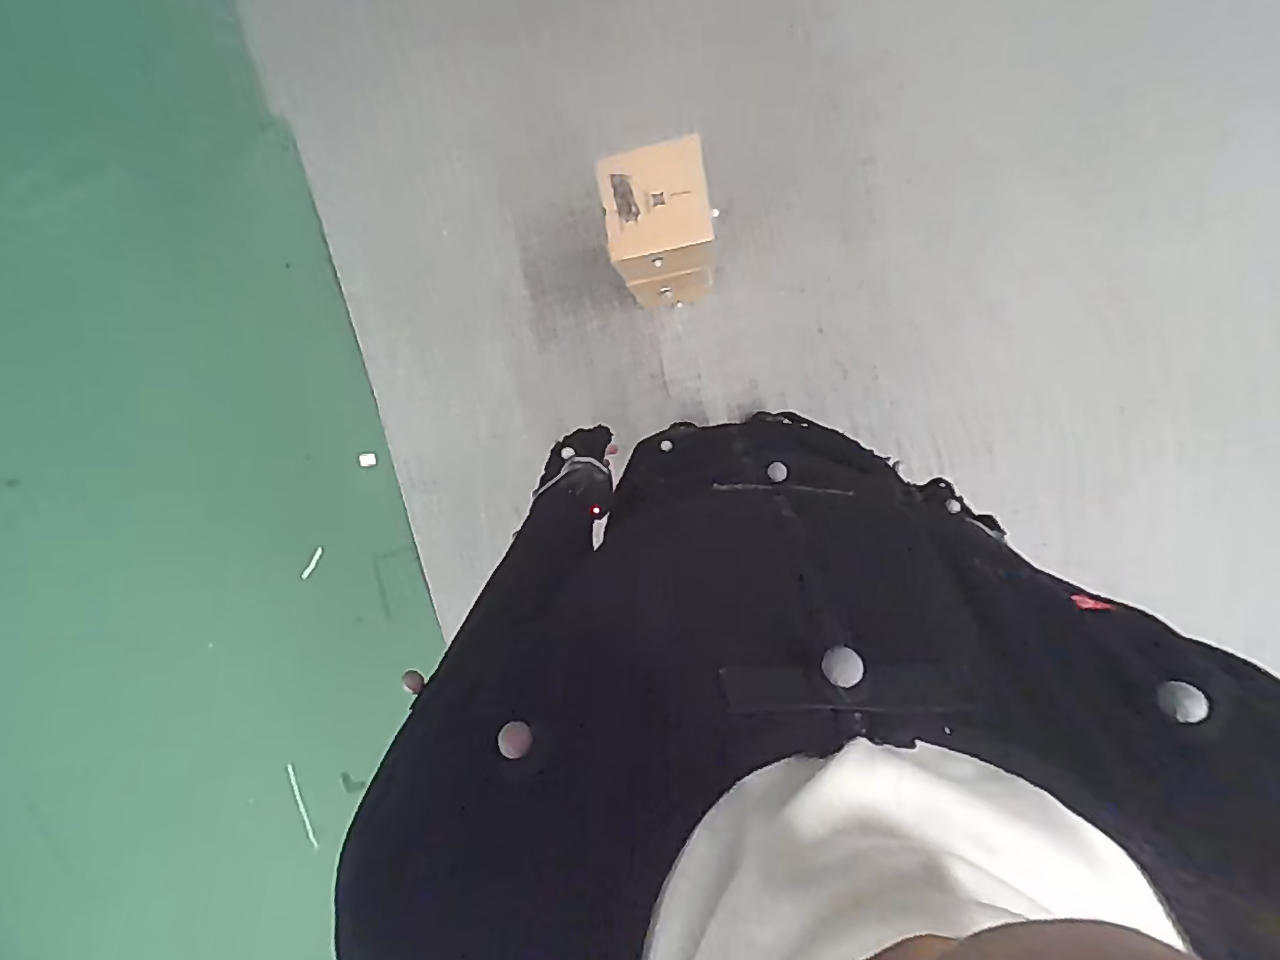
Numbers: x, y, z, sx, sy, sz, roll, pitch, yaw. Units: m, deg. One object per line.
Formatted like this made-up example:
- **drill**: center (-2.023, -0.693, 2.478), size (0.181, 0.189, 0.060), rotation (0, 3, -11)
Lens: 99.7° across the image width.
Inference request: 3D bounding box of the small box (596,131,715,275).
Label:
- **small box**: center (0.036, -0.476, 0.959), size (0.179, 0.176, 0.168), rotation (-8, 98, 10)

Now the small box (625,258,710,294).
- **small box**: center (0.052, -0.501, 1.121), size (0.168, 0.176, 0.179), rotation (-9, 99, 11)

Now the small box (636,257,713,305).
- **small box**: center (0.076, -0.522, 1.280), size (0.179, 0.176, 0.168), rotation (-8, 98, 9)
